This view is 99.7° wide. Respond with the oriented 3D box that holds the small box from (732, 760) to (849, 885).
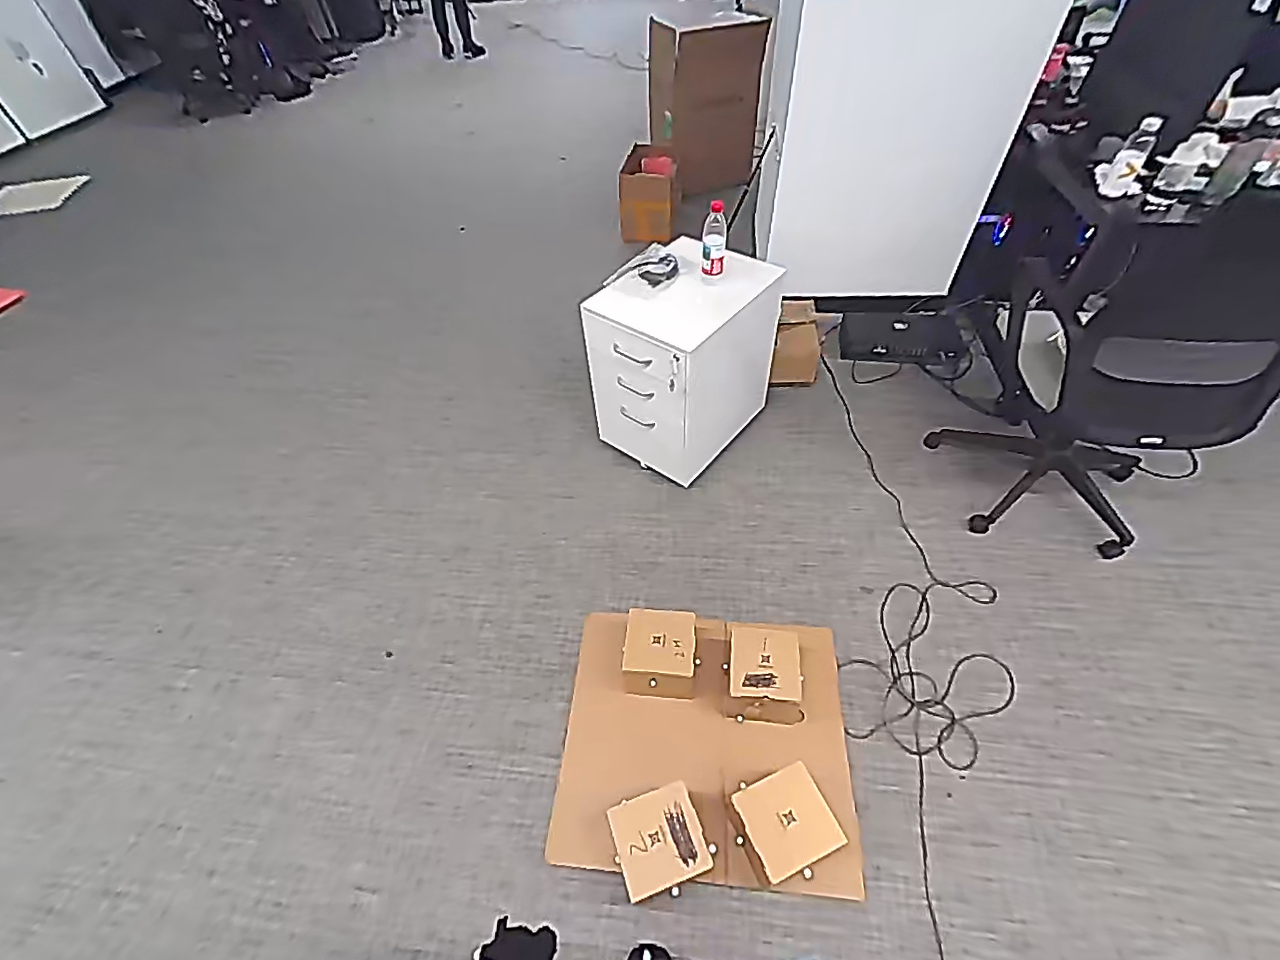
[{"bbox_3d":[0.313,0.738,1.164,0.179,0.176,0.168,-22,51,-11],"label":"small box"}]
